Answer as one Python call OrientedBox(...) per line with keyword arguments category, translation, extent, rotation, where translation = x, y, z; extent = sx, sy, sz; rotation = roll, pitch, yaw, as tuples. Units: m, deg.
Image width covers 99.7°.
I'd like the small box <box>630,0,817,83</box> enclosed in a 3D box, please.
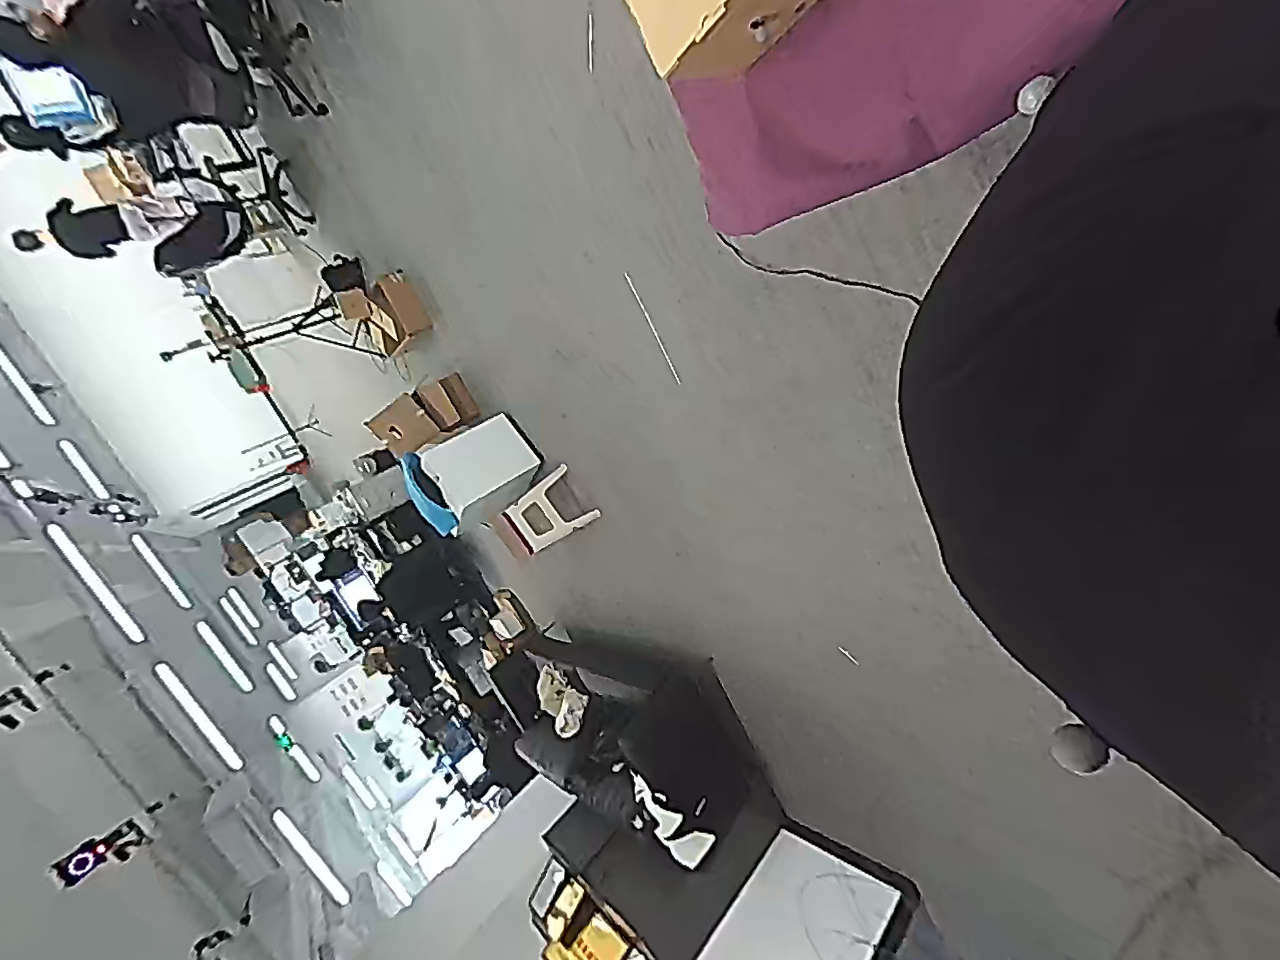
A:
OrientedBox(category="small box", translation=(0.095, -0.581, 0.587), extent=(0.168, 0.176, 0.179), rotation=(-10, 110, 54))
